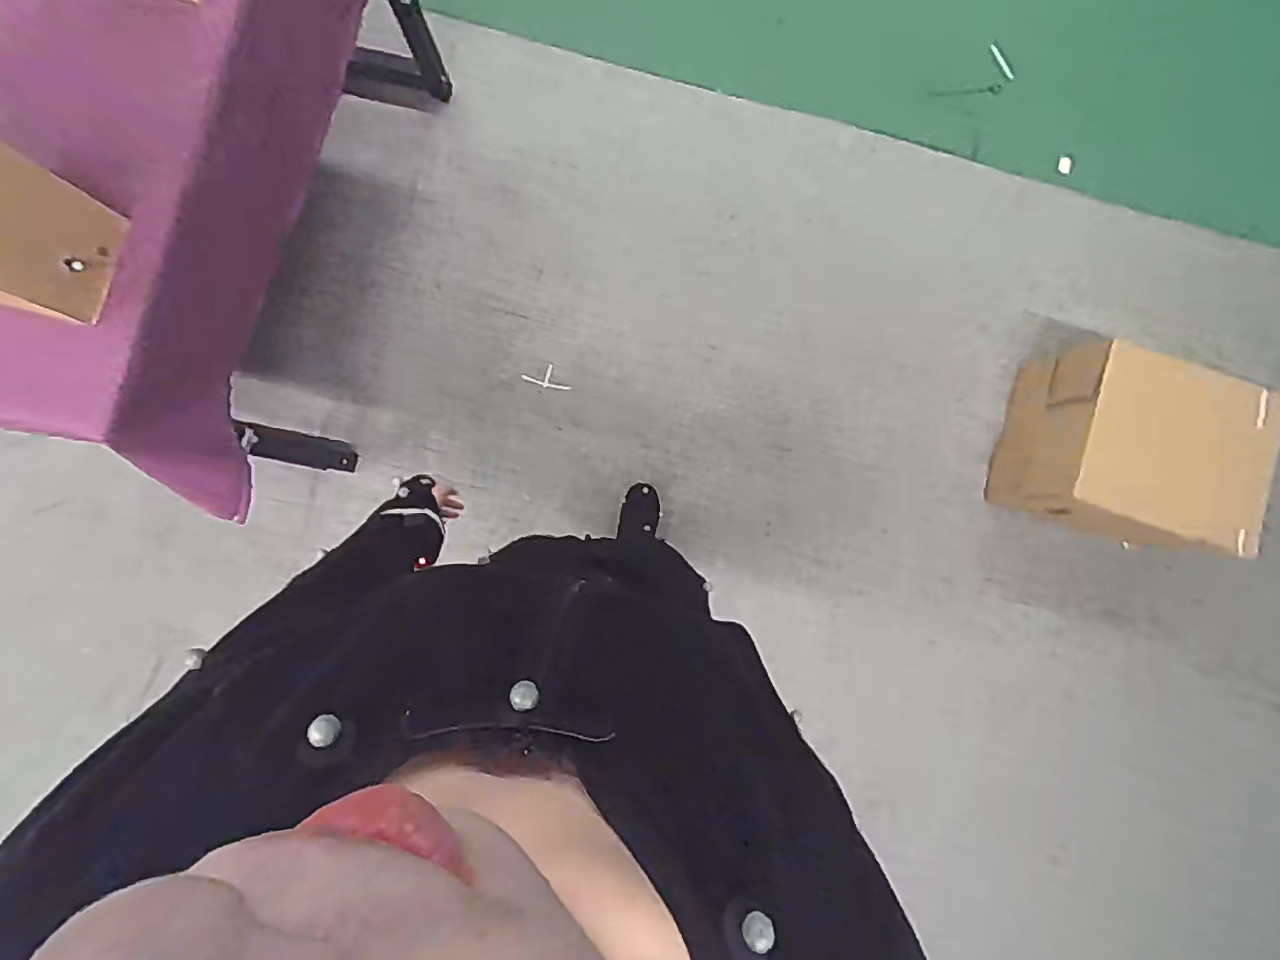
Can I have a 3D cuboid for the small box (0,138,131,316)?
[{"bbox_3d":[-0.848,-0.336,0.709,0.179,0.176,0.168,14,85,-1],"label":"small box"}]
